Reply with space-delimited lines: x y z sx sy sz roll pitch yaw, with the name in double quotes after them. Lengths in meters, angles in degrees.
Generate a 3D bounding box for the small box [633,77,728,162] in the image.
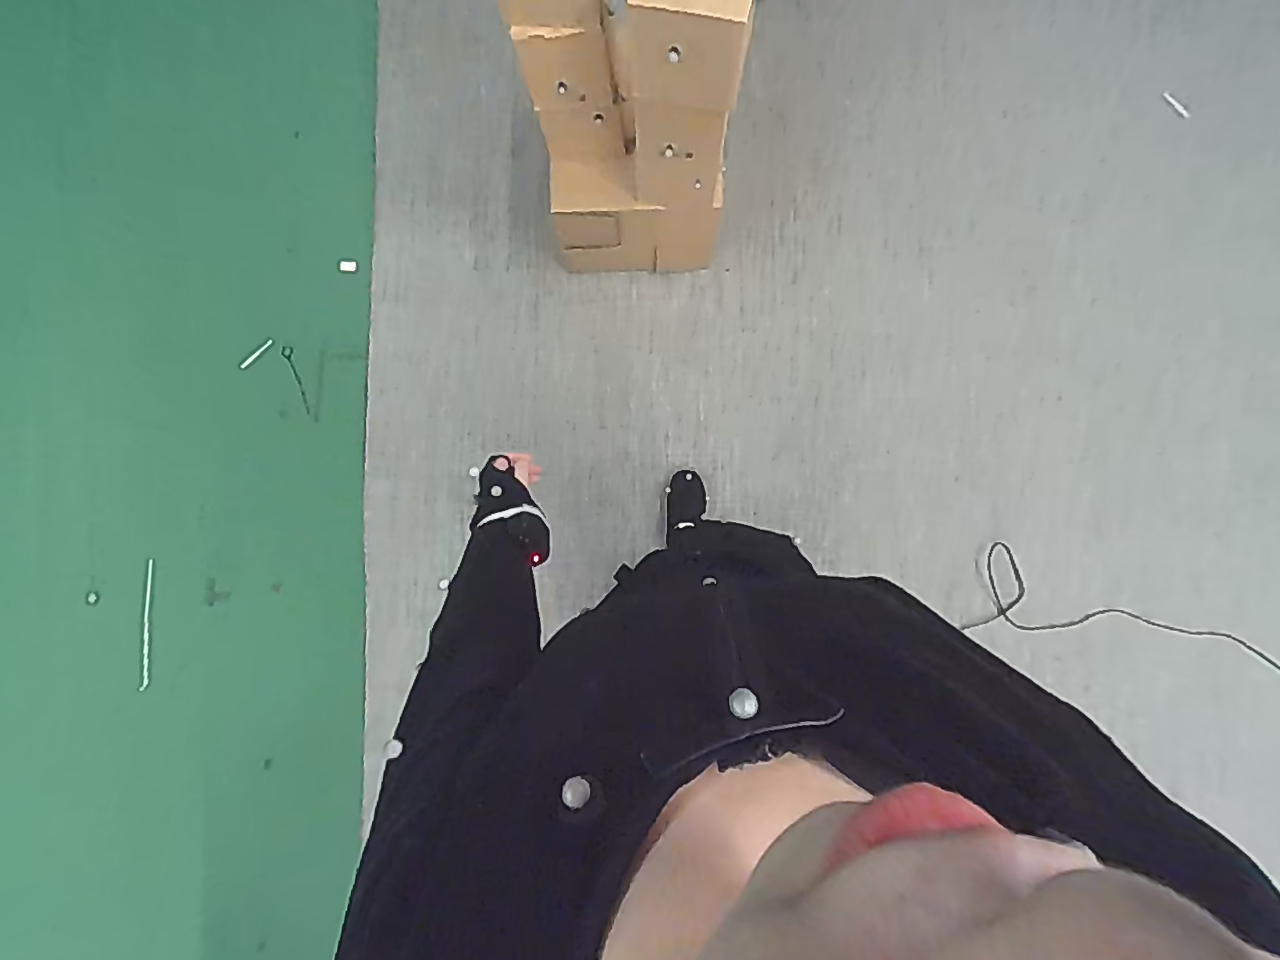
0.083 -0.728 0.996 0.168 0.176 0.179 8 87 4 "small box"

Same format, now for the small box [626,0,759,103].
0.086 -0.722 0.830 0.179 0.176 0.168 13 87 5 "small box"

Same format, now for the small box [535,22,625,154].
-0.124 -0.846 1.181 0.179 0.176 0.168 -2 84 3 "small box"

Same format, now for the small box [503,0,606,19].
-0.146 -0.880 0.856 0.179 0.176 0.168 5 86 4 "small box"

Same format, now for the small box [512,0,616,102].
-0.137 -0.858 1.019 0.168 0.176 0.179 0 86 3 "small box"
